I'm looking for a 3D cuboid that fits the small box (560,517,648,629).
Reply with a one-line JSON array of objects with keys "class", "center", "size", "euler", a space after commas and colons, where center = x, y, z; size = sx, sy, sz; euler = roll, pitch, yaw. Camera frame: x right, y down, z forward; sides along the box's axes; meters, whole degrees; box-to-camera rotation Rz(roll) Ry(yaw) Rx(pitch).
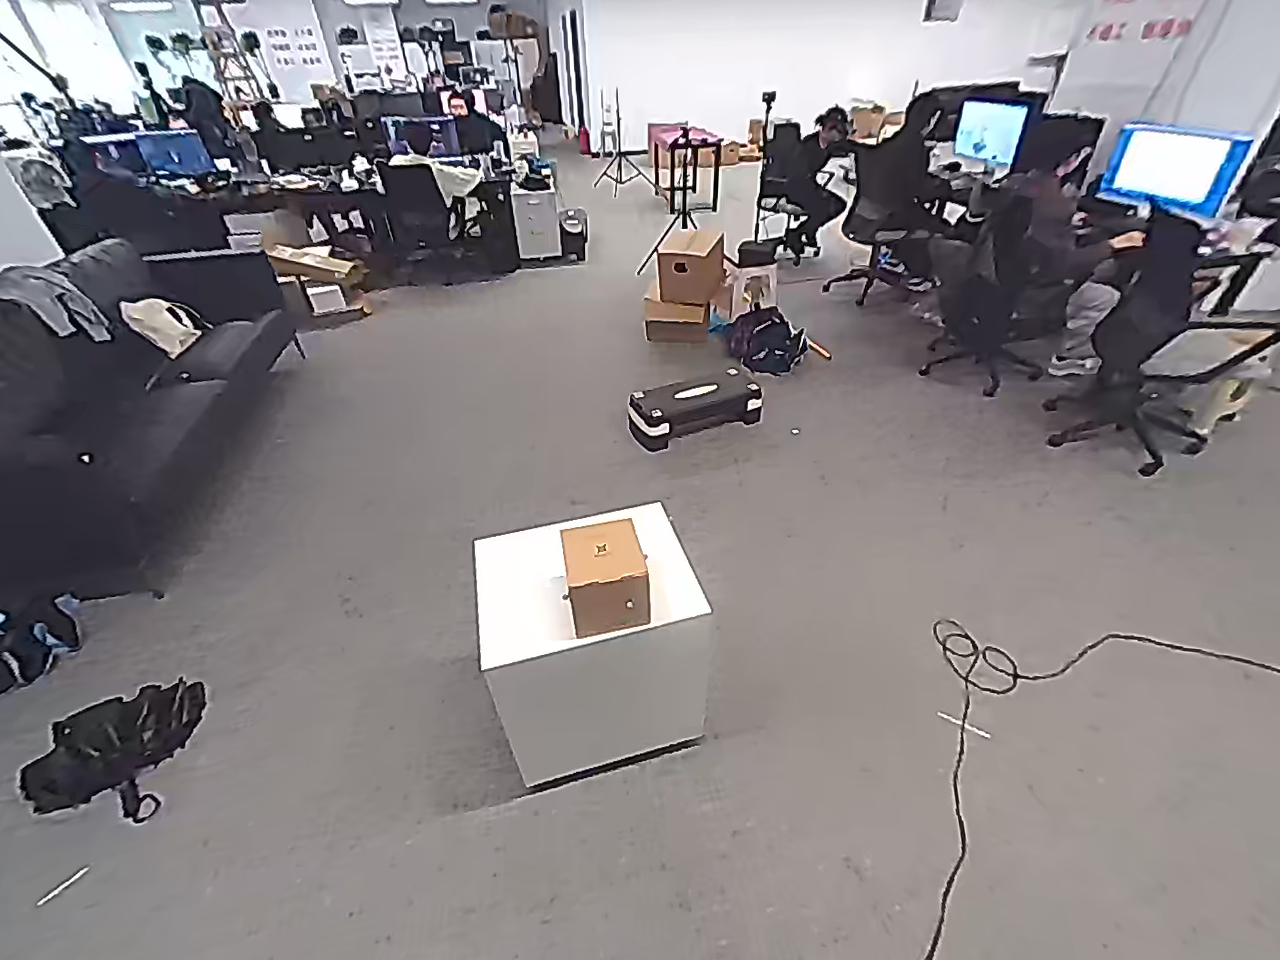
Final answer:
[{"class": "small box", "center": [-0.078, 0.210, 1.194], "size": [0.168, 0.176, 0.179], "euler": [-8, 37, -10]}]
